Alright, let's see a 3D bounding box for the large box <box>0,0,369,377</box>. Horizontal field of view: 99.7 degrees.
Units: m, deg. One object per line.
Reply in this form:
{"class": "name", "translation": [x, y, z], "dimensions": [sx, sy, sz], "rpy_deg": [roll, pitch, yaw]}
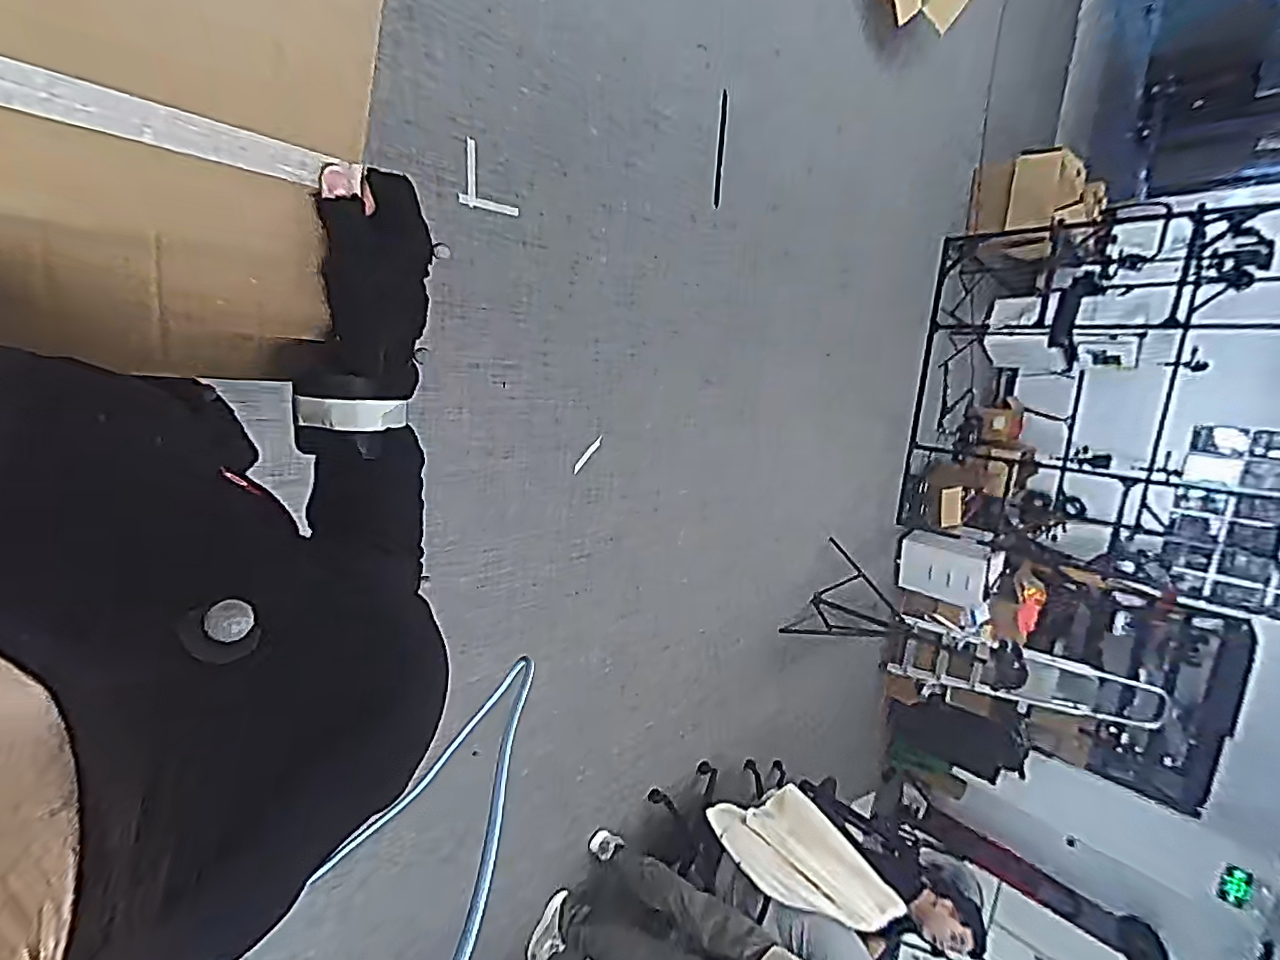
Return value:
{"class": "large box", "translation": [-0.418, -0.276, 0.296], "dimensions": [0.408, 0.320, 0.320], "rpy_deg": [-6, 137, -43]}
